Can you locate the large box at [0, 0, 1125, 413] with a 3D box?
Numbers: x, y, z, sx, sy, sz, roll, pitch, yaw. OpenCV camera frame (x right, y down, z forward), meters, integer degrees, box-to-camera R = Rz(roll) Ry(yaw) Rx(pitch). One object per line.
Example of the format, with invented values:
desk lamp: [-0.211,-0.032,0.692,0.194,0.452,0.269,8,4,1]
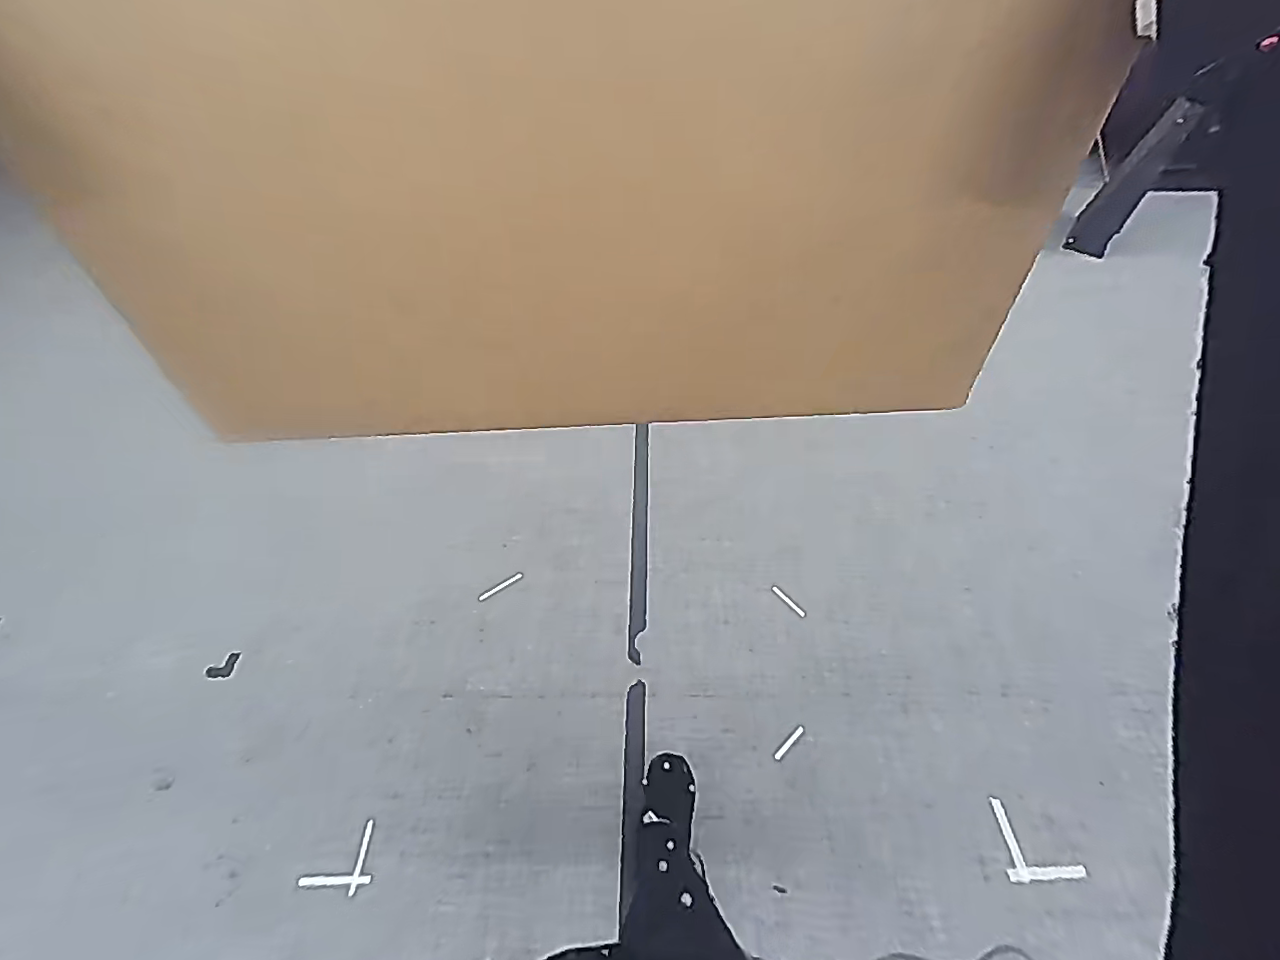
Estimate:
large box: [-0.032,-0.254,0.301,0.408,0.320,0.320,-2,46,-1]
